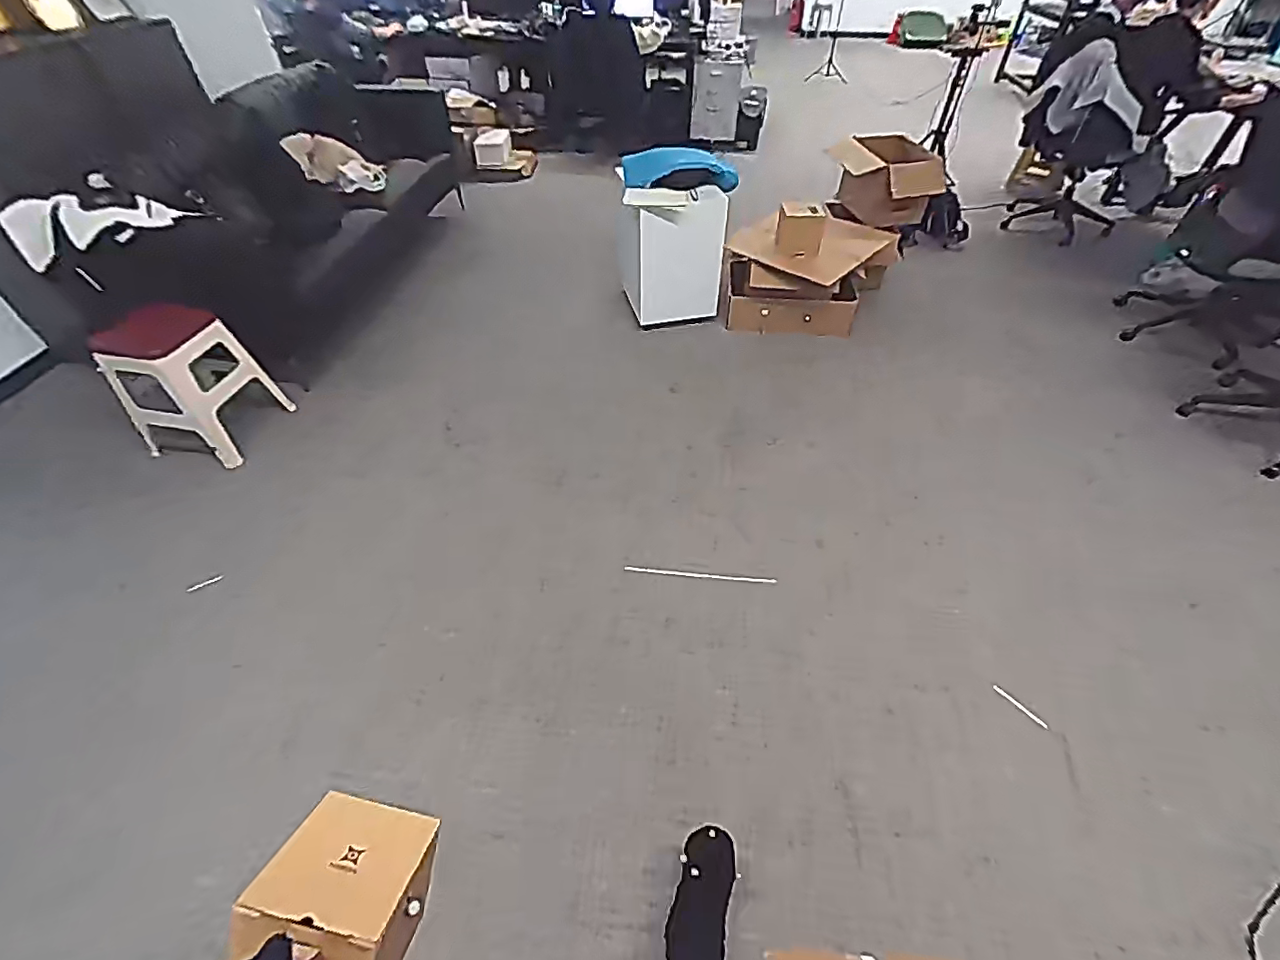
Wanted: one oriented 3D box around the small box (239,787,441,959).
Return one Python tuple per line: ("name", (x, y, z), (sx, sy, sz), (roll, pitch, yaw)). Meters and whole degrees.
("small box", (-0.384, 0.549, 0.700), (0.168, 0.176, 0.179), (14, 12, 0))
